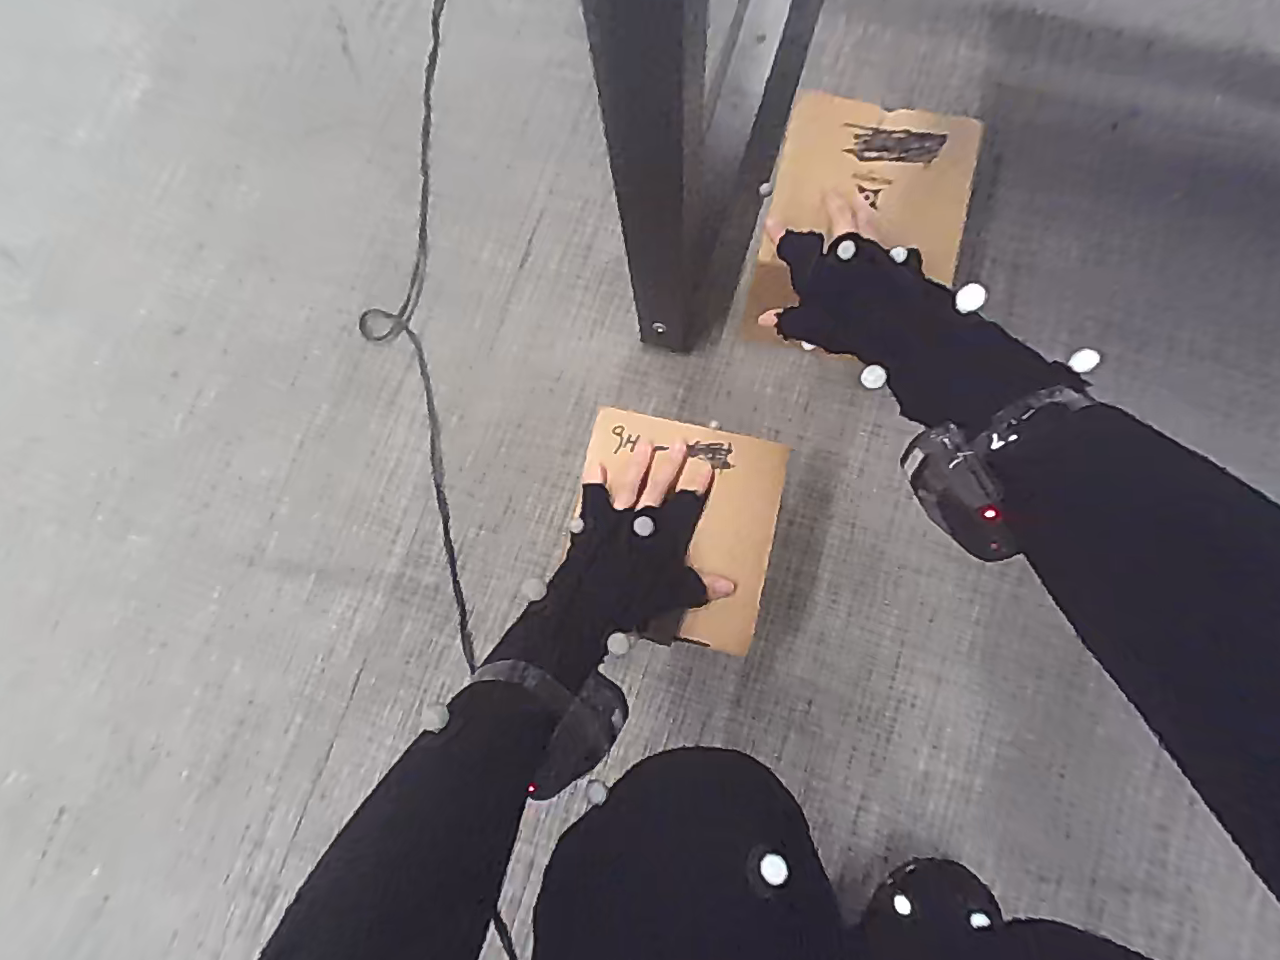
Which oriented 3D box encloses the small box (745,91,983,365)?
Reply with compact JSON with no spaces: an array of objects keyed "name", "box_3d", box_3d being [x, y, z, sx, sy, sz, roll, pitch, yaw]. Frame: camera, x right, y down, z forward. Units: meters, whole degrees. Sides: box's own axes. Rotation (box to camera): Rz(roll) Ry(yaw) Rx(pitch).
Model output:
[{"name":"small box","box_3d":[0.212,-0.244,0.558,0.168,0.176,0.179,14,82,6]}]
